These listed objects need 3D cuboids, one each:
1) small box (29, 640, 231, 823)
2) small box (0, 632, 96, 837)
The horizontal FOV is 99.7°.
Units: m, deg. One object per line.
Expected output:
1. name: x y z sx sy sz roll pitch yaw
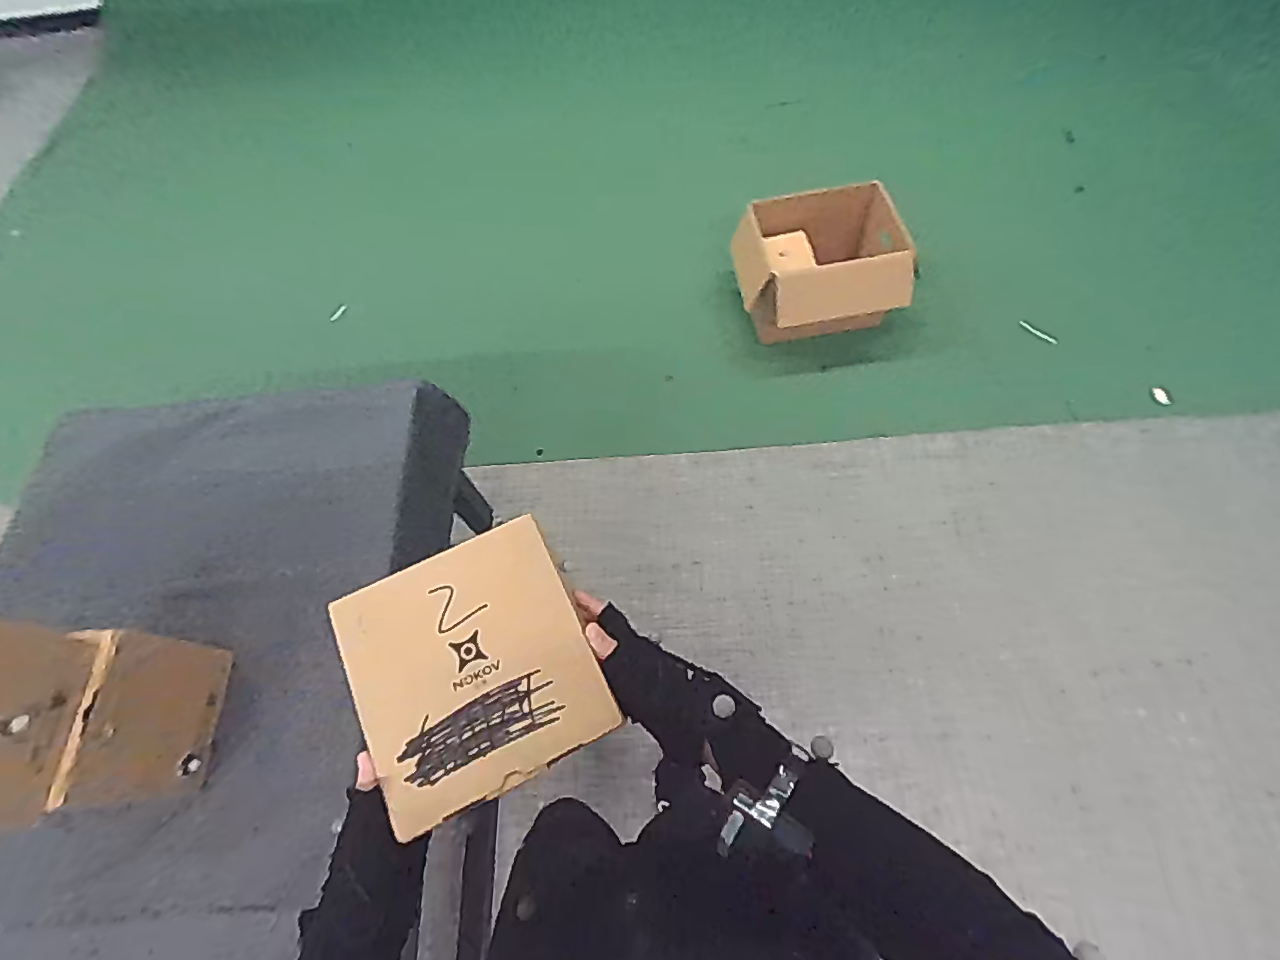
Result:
1. small box: -0.616 0.282 0.607 0.179 0.176 0.168 -6 63 3
2. small box: -0.643 0.222 0.456 0.179 0.176 0.168 -7 63 1
